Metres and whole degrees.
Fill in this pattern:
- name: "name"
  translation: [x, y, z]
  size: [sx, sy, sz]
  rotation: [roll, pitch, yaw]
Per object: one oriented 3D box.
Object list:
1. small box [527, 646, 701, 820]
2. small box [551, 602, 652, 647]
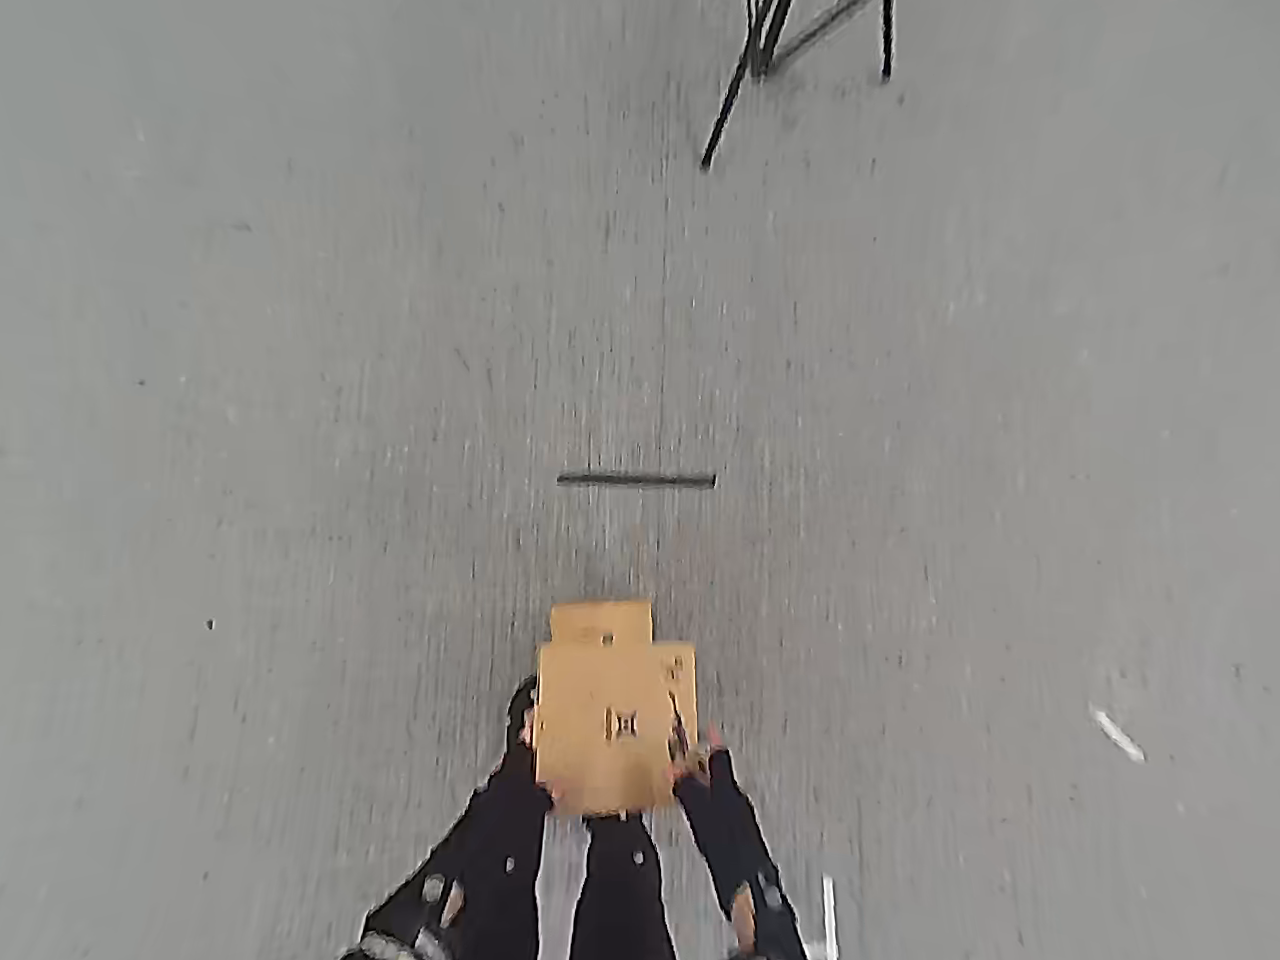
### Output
- name: "small box"
  translation: [-0.033, 0.286, 0.635]
  size: [0.179, 0.176, 0.168]
  rotation: [2, 70, -7]
- name: "small box"
  translation: [-0.067, 0.311, 0.948]
  size: [0.168, 0.176, 0.179]
  rotation: [-2, 80, -6]
